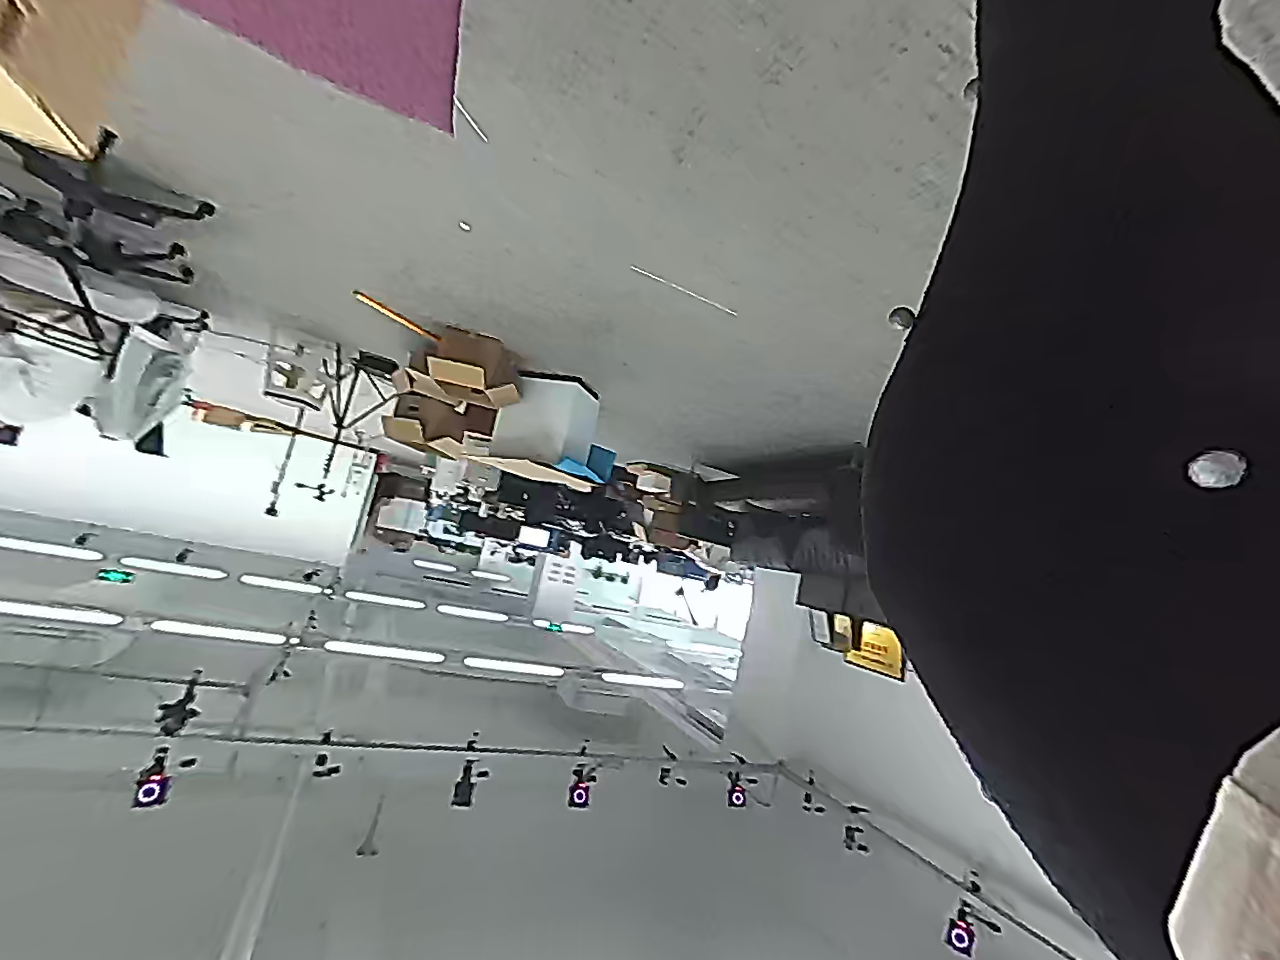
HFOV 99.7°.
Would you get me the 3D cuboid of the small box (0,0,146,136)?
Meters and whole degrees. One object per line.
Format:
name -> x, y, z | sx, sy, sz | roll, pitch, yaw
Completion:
small box -> -0.272, -0.260, 0.153 | 0.179, 0.176, 0.168 | 18, 170, -22
